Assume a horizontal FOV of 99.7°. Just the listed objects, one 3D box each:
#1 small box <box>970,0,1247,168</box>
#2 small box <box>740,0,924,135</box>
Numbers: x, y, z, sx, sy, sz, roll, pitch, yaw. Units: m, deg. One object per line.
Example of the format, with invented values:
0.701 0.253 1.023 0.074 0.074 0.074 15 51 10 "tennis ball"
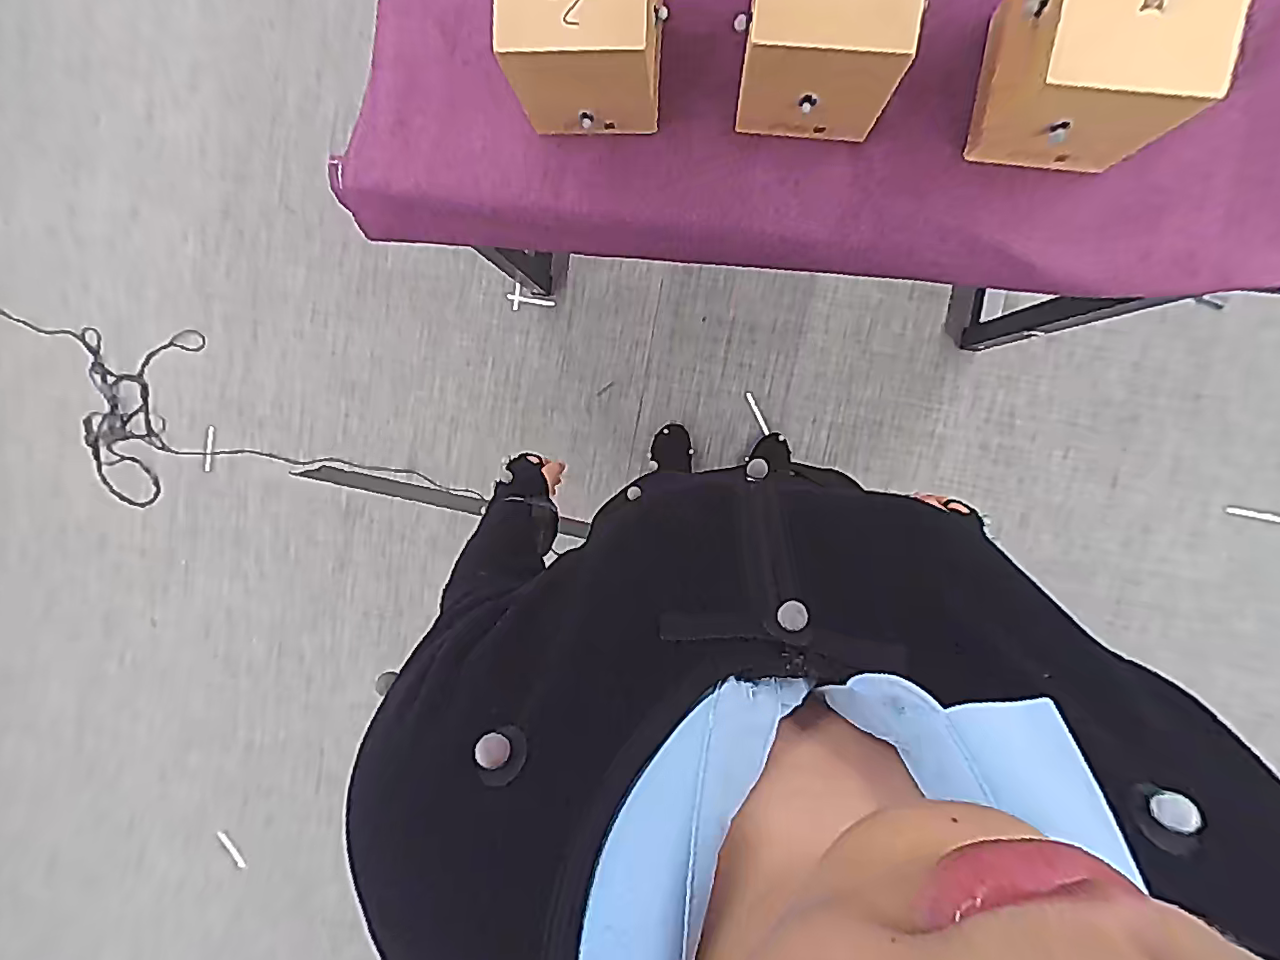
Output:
0.497 -0.473 0.594 0.168 0.176 0.179 9 97 5 "small box"
0.211 -0.527 0.614 0.168 0.176 0.179 8 95 4 "small box"
